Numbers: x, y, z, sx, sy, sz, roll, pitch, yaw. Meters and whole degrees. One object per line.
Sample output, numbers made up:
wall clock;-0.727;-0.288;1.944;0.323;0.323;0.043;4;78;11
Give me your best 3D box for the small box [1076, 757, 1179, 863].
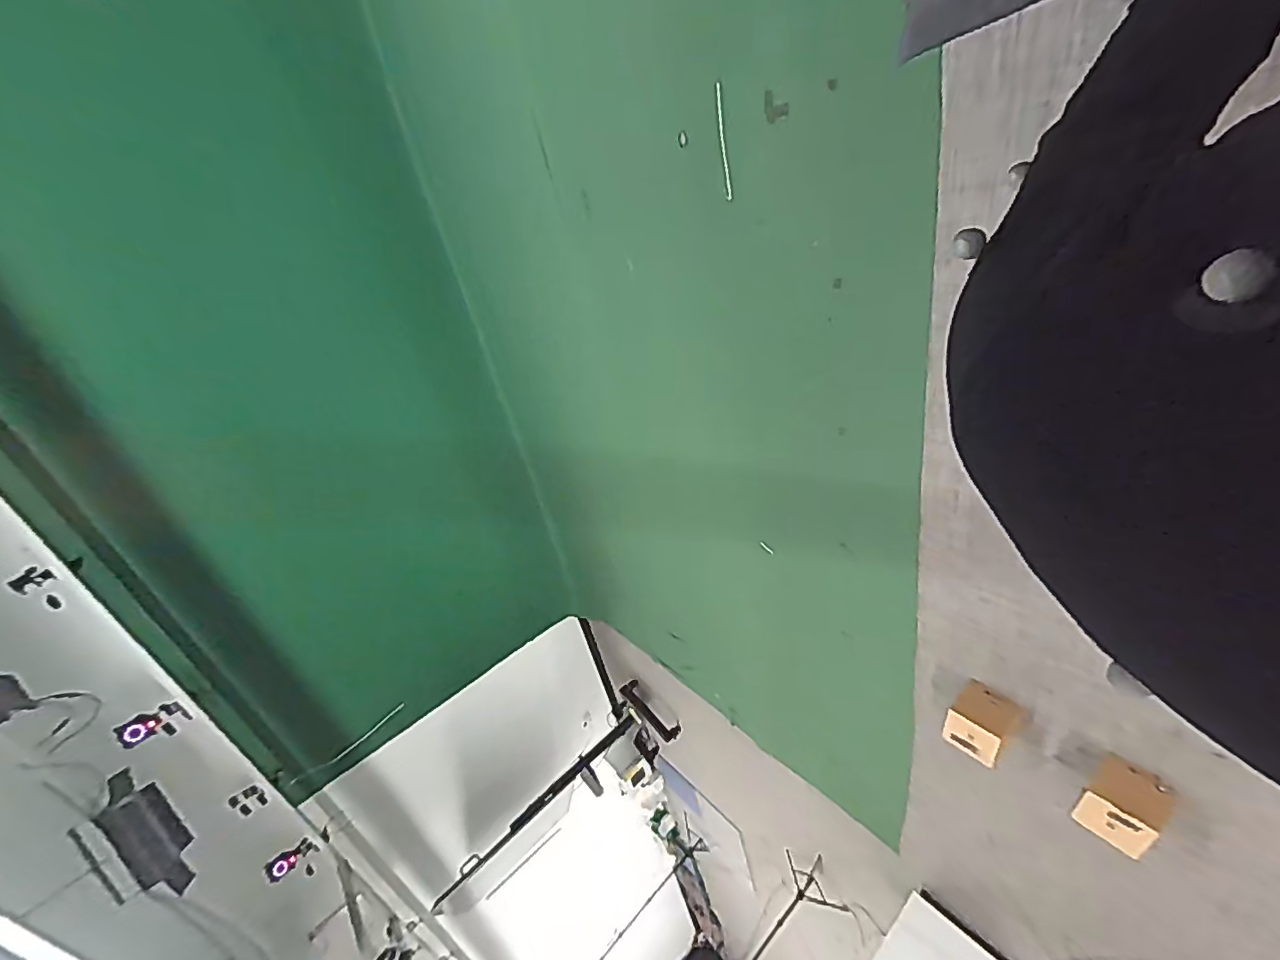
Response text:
small box;1.441;0.966;1.596;0.168;0.176;0.179;30;141;43
